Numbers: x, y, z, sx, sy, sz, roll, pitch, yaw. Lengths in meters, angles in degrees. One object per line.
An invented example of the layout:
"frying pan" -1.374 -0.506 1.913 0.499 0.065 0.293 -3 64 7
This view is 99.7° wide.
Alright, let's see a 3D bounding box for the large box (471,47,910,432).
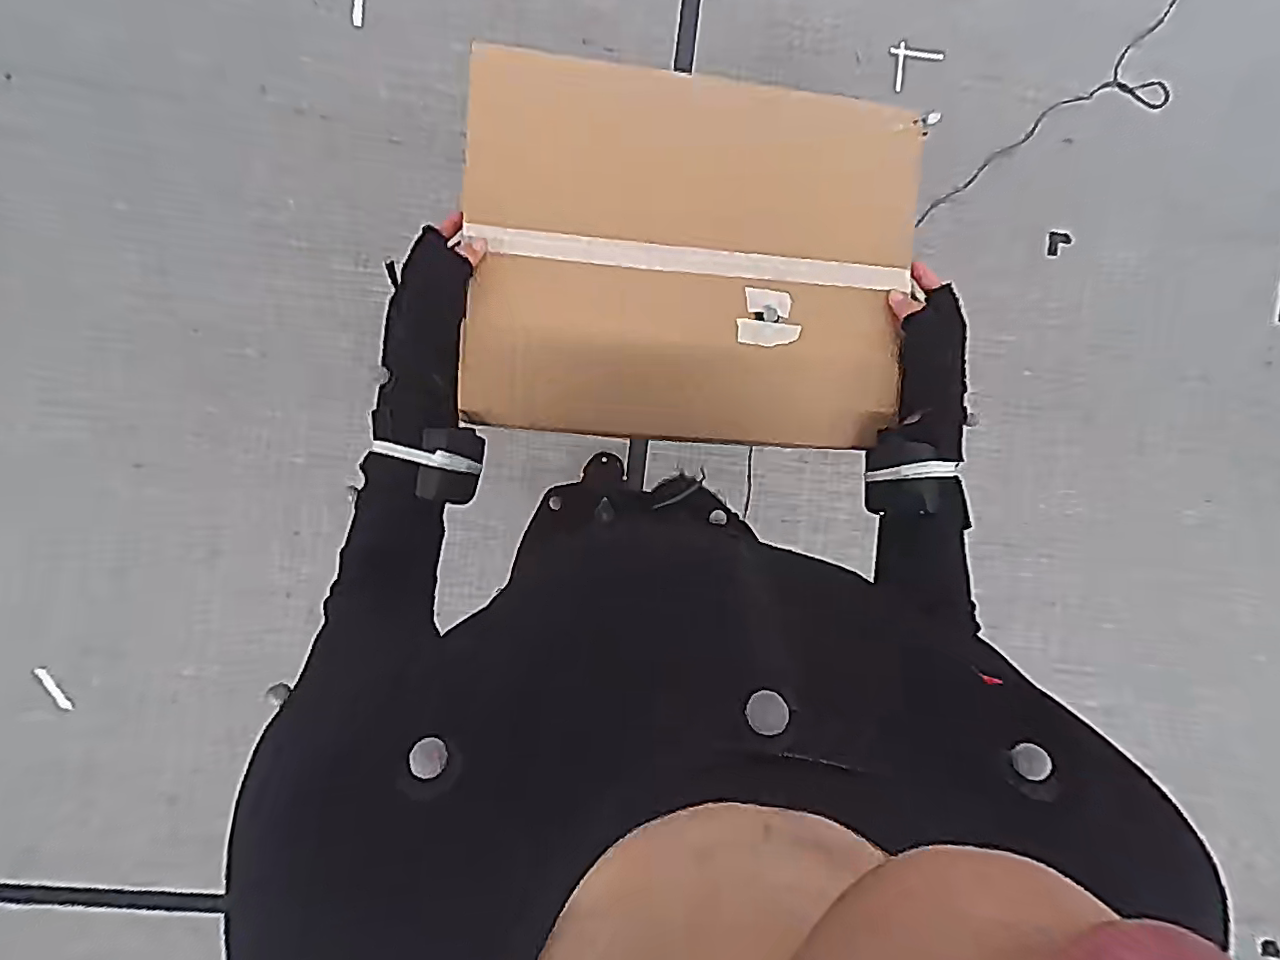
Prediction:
"large box" 0.031 -0.221 0.641 0.408 0.320 0.320 3 96 -8
